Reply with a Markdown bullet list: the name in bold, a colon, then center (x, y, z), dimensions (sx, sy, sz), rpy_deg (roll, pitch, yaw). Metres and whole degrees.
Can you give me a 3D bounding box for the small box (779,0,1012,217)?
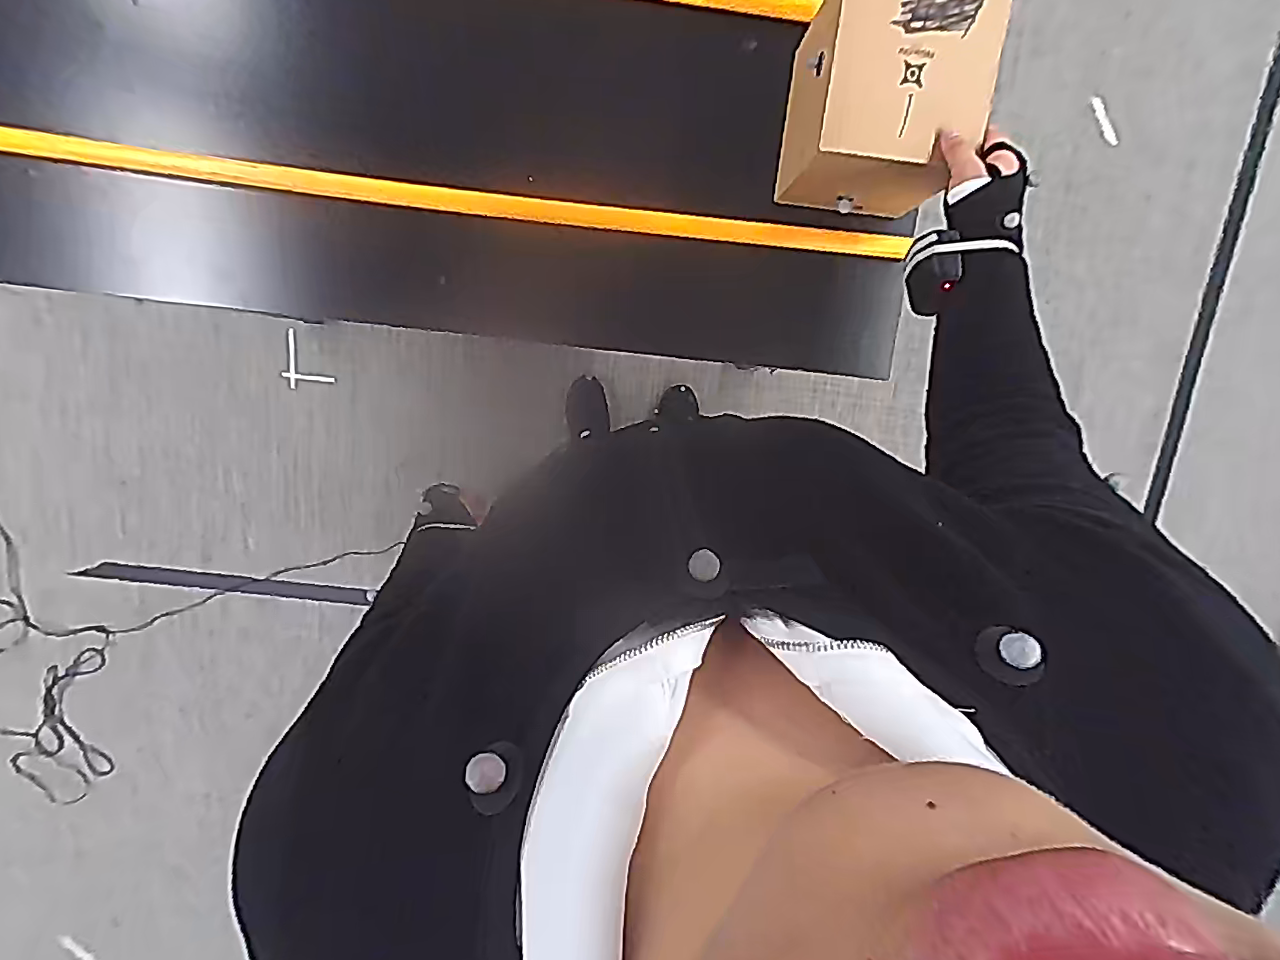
- **small box**: center (0.267, -0.421, 0.607), dimensions (0.168, 0.176, 0.179), rpy_deg (7, 101, -3)
